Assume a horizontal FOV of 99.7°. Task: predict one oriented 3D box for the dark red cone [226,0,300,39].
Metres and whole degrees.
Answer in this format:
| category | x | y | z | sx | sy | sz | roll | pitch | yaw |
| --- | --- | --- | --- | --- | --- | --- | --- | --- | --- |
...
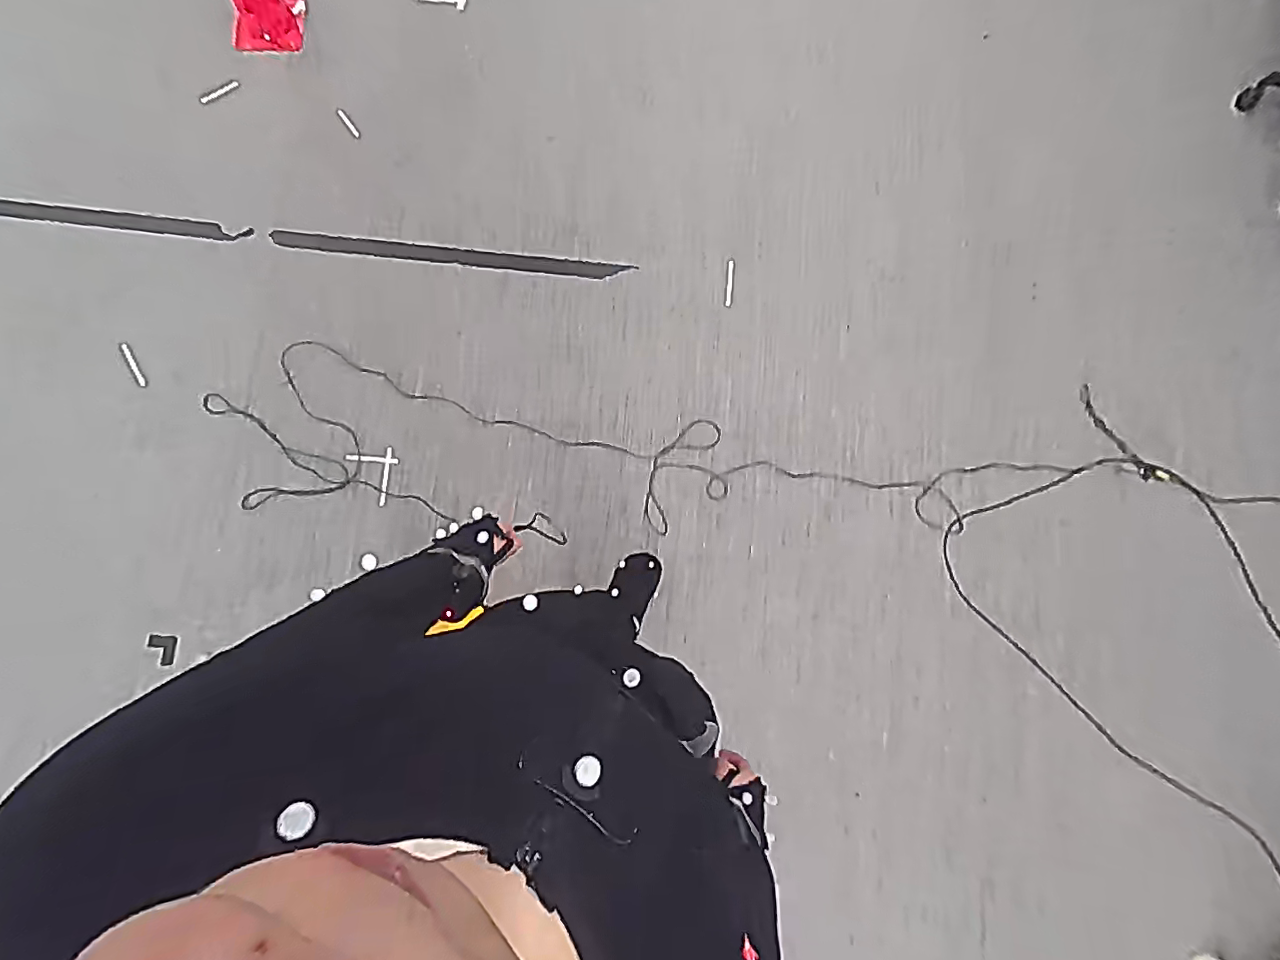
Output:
| category | x | y | z | sx | sy | sz | roll | pitch | yaw |
| --- | --- | --- | --- | --- | --- | --- | --- | --- | --- |
| dark red cone | -1.110 | -1.417 | 1.438 | 0.202 | 0.394 | 0.201 | -2 | 81 | -2 |
